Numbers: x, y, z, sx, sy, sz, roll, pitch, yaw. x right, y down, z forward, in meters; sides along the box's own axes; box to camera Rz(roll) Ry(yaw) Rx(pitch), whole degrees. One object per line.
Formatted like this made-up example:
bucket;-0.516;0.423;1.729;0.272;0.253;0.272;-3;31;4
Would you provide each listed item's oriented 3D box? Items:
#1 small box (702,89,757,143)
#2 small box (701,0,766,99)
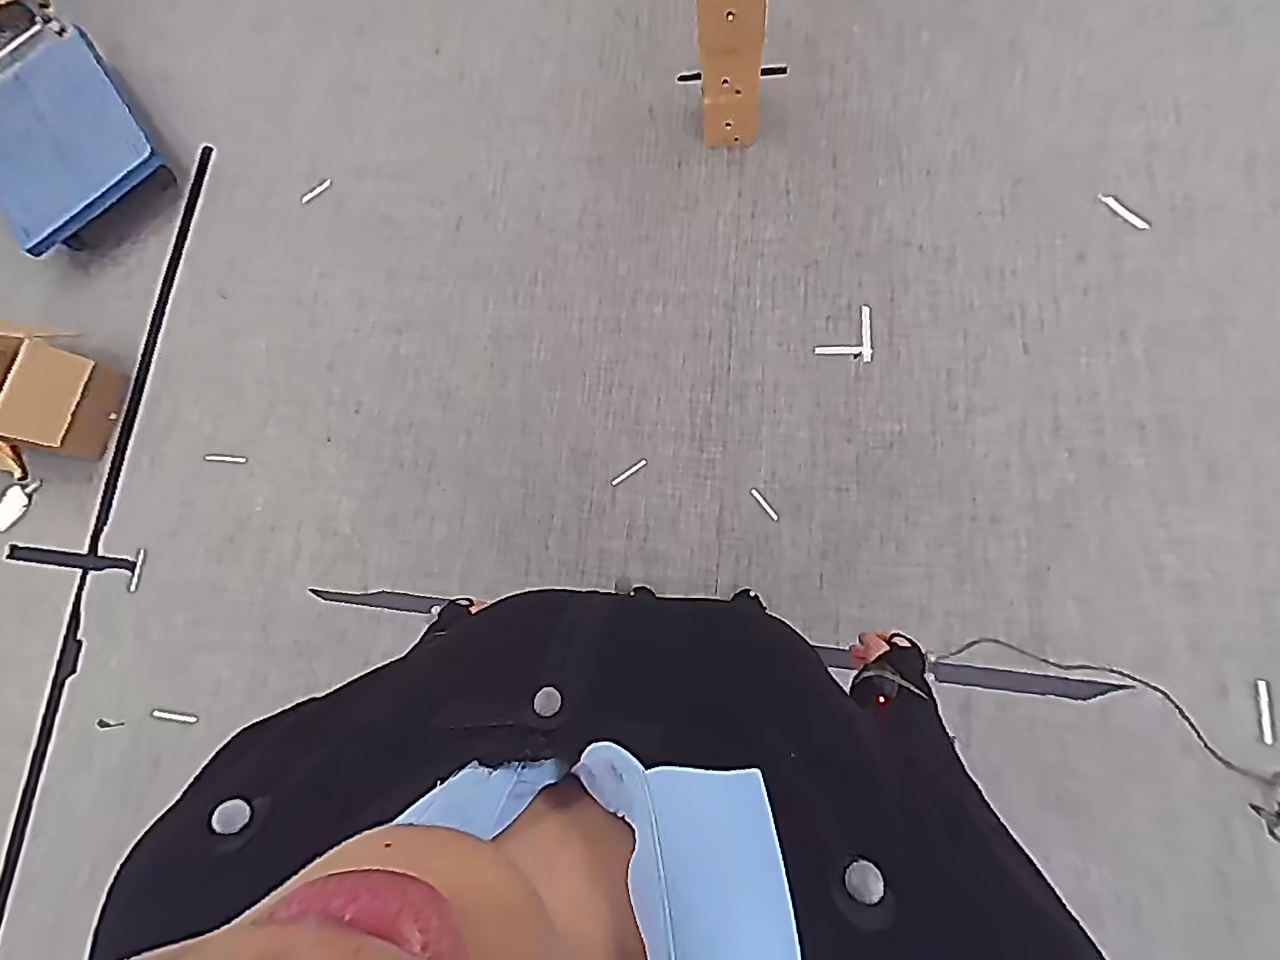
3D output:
small box;0.283;-1.189;1.693;0.168;0.176;0.179;2;78;8
small box;0.264;-1.230;1.537;0.168;0.176;0.179;4;80;9
